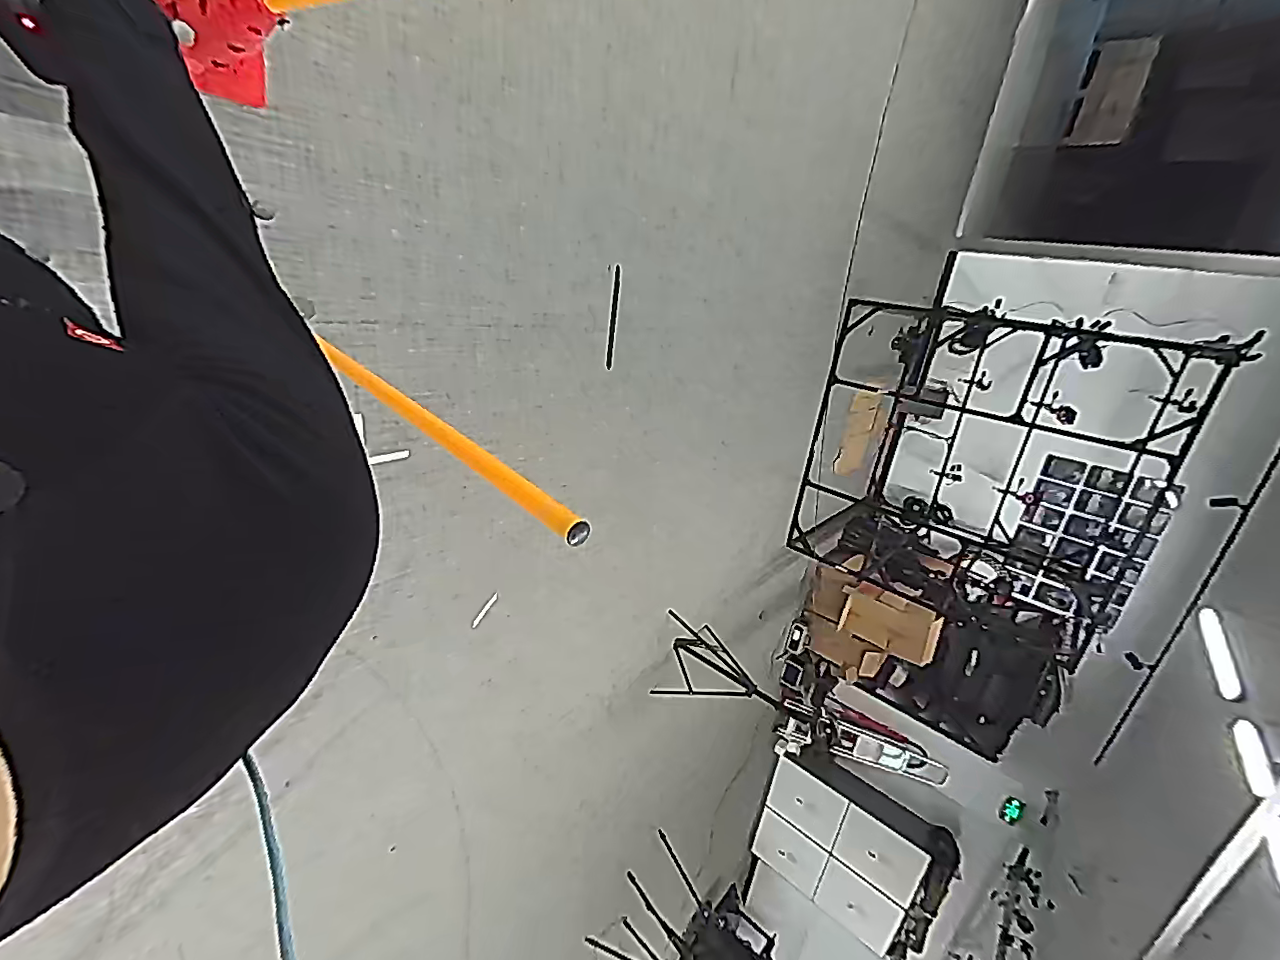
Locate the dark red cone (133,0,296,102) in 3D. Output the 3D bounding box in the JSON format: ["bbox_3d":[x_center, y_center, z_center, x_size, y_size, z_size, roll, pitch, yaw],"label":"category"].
[{"bbox_3d":[-0.684,-0.793,0.911,0.201,0.394,0.202,-18,123,-50],"label":"dark red cone"}]
